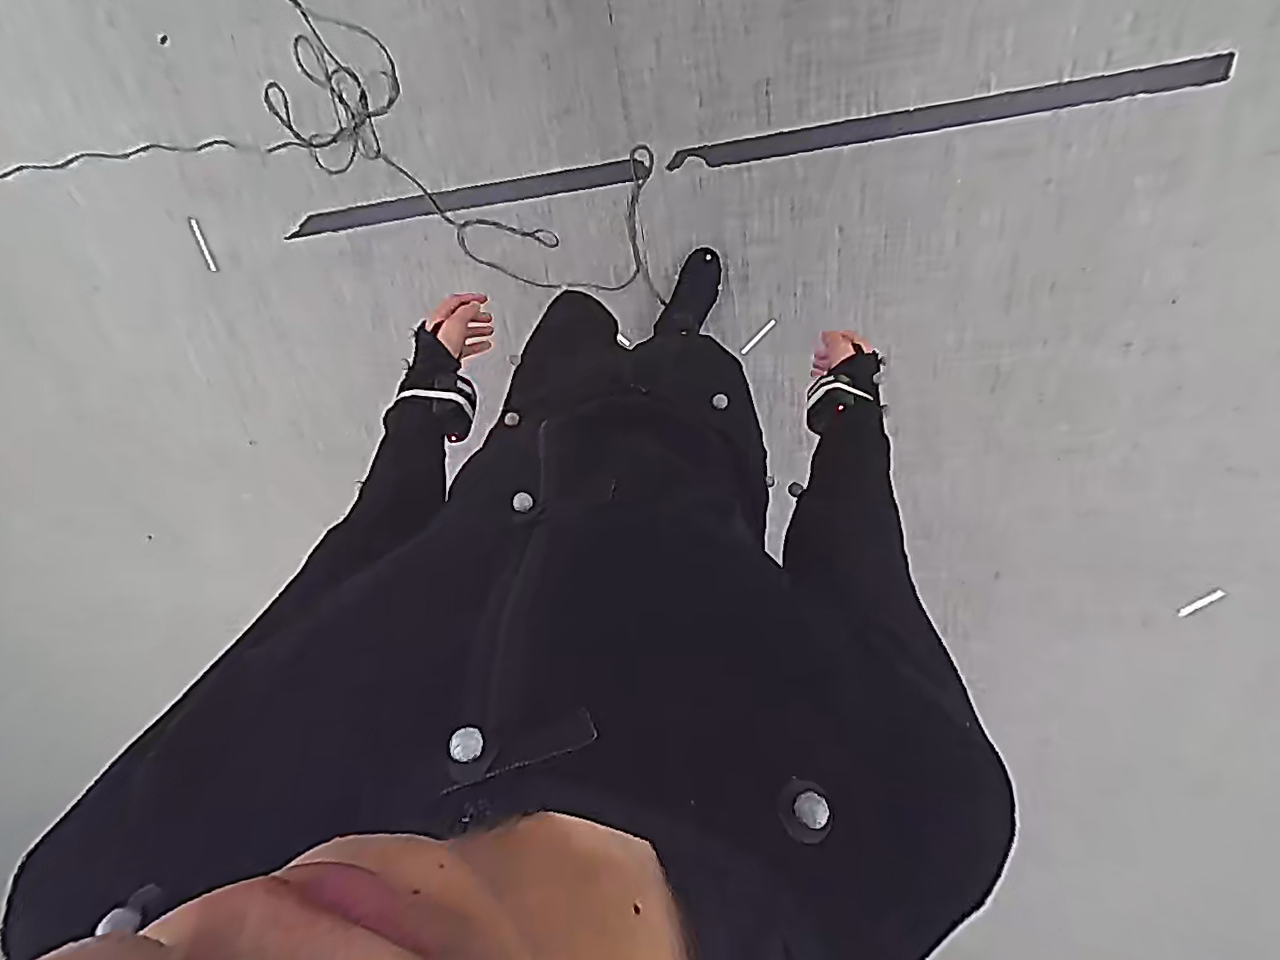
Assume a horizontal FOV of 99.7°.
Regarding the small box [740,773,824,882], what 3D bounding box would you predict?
[{"bbox_3d":[0.338,0.835,1.305,0.179,0.176,0.168,-4,114,10],"label":"small box"}]
